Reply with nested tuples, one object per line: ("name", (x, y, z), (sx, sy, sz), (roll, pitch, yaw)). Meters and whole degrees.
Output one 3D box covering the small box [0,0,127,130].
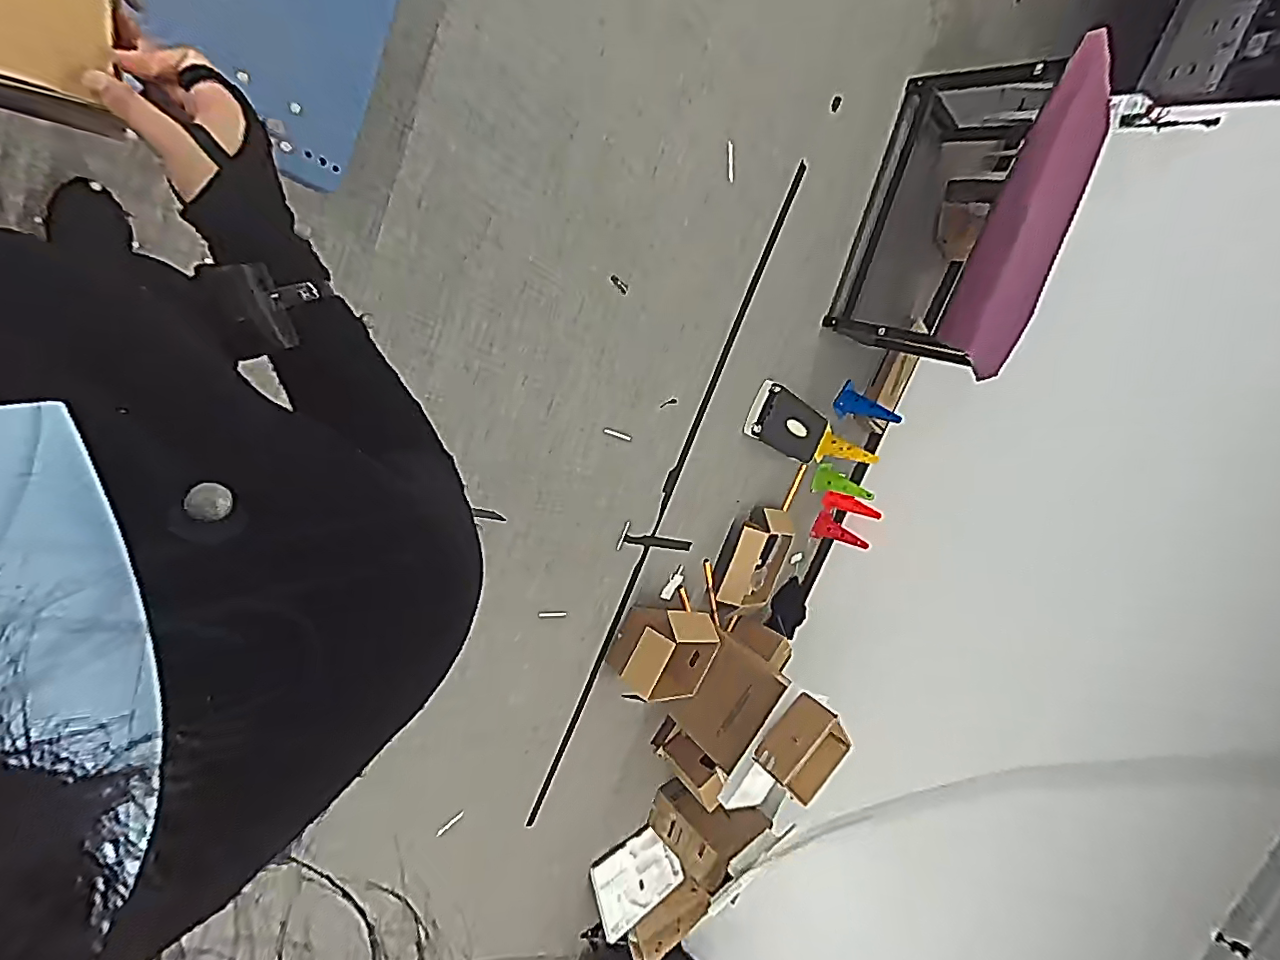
("small box", (-0.432, -0.347, 0.330), (0.168, 0.176, 0.179), (-2, 111, -41))
